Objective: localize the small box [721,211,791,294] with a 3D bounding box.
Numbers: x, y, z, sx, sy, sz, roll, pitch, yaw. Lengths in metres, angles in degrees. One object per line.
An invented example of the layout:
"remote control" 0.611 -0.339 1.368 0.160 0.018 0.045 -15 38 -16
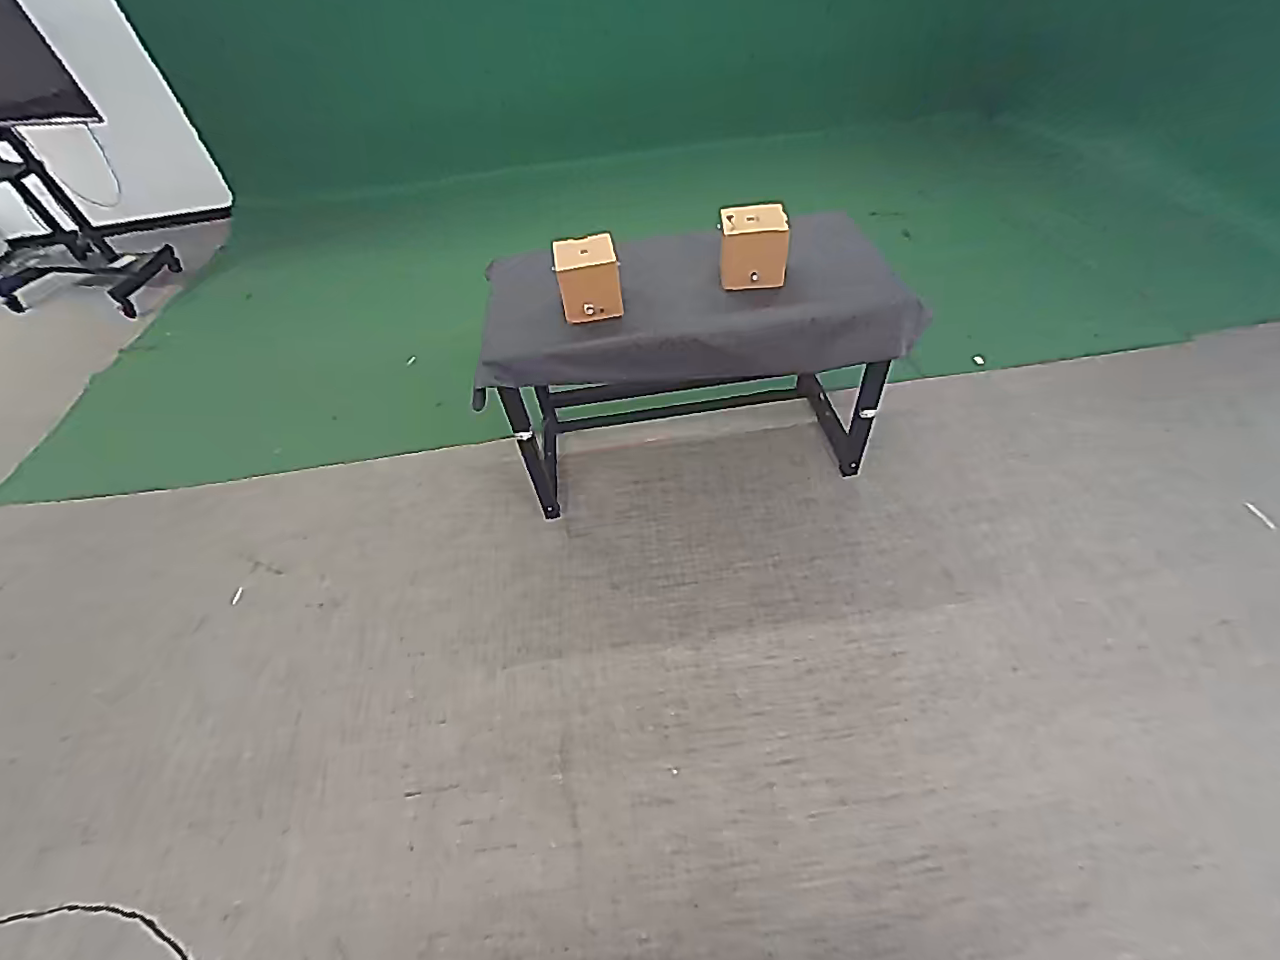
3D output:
"small box" 0.331 -0.659 1.575 0.179 0.176 0.168 -1 48 5

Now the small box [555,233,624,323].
"small box" -0.142 -0.571 1.532 0.168 0.176 0.179 -10 48 1
